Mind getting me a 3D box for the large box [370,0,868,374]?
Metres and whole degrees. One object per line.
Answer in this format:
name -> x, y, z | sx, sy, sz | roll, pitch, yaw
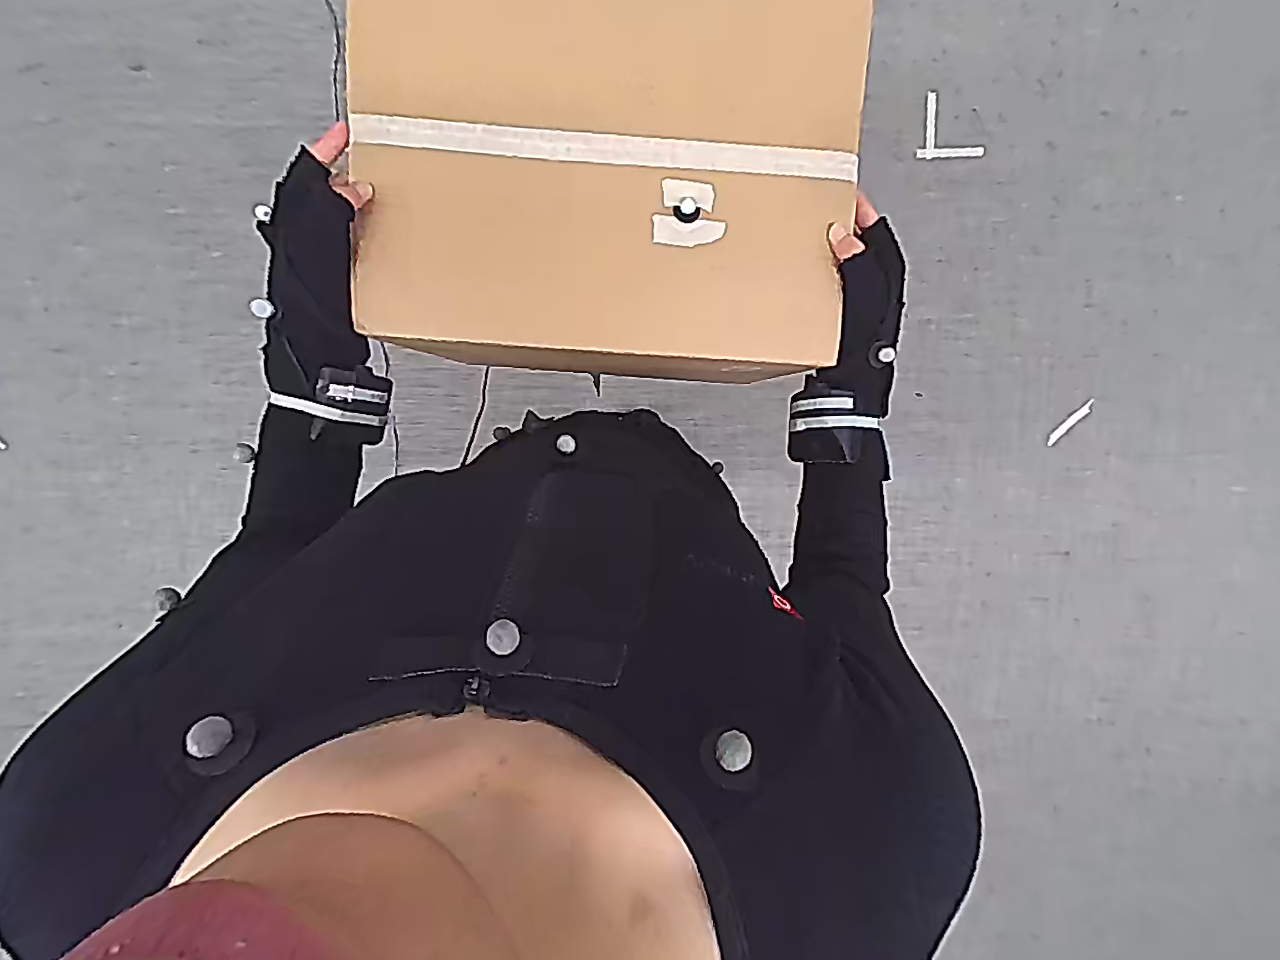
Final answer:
large box -> -0.026, -0.291, 0.591 | 0.408, 0.320, 0.320 | 3, 97, -3
